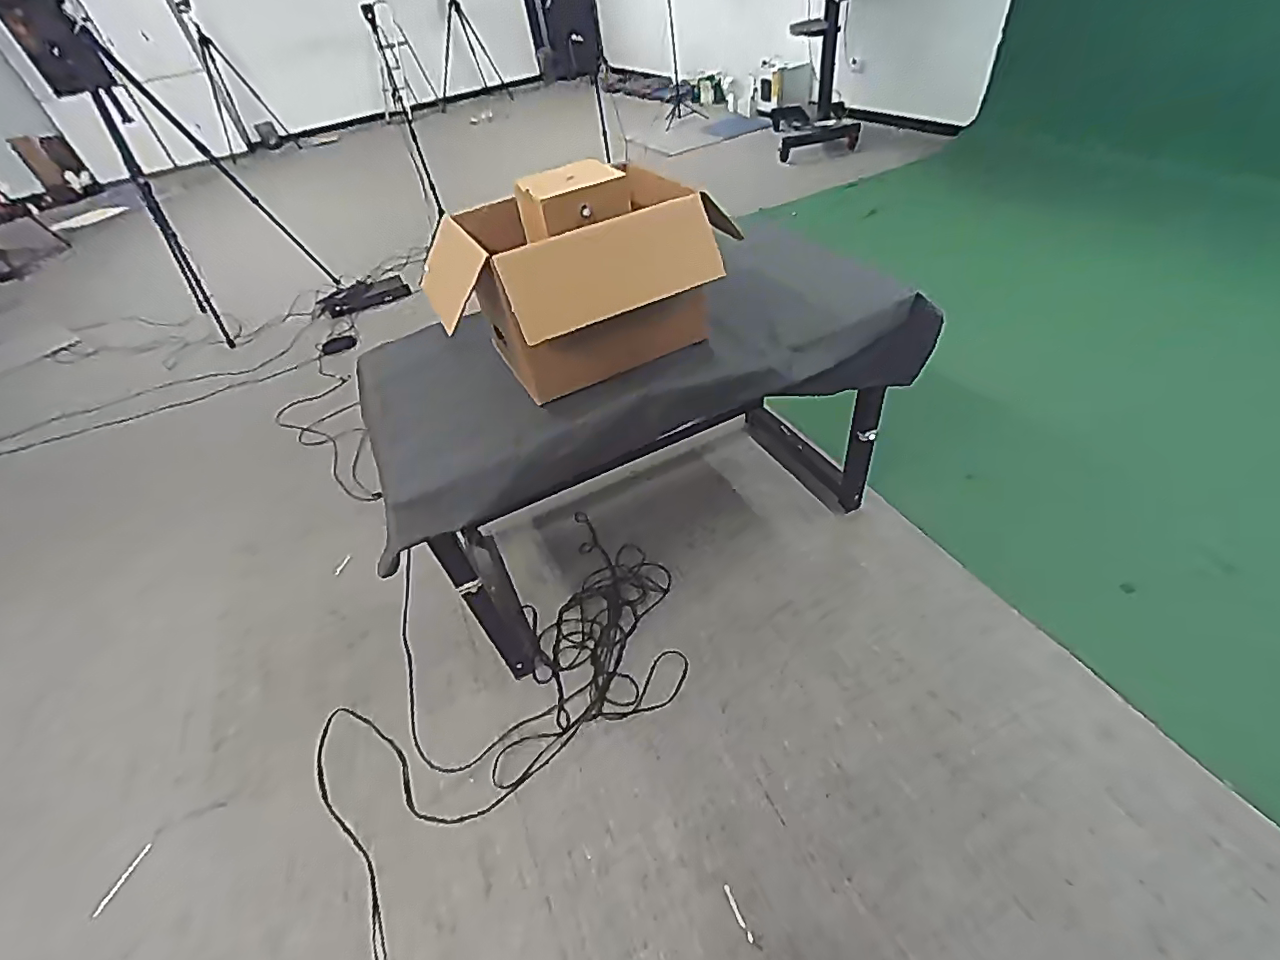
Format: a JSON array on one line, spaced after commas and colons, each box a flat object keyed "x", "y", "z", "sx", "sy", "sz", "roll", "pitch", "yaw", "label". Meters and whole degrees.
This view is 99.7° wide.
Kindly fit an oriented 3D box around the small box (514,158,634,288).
[{"x": -0.123, "y": -0.504, "z": 1.061, "sx": 0.179, "sy": 0.176, "sz": 0.168, "roll": -25, "pitch": 46, "yaw": -14, "label": "small box"}]
